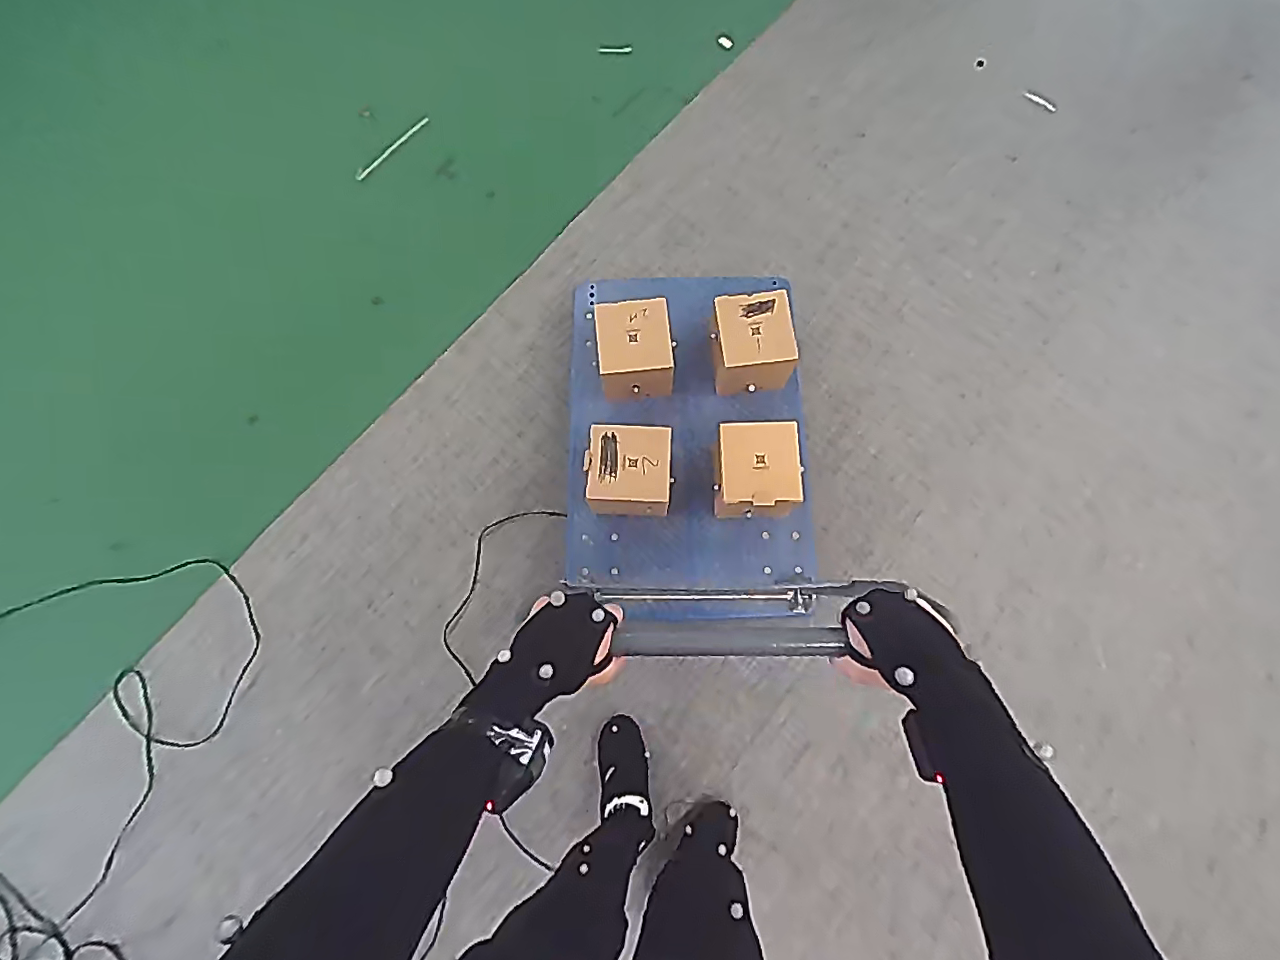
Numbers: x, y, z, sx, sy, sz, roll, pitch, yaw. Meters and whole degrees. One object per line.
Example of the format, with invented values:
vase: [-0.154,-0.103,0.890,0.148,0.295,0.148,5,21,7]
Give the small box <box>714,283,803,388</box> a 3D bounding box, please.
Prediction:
small box: [0.270,-0.333,1.273,0.168,0.176,0.179,-6,78,1]

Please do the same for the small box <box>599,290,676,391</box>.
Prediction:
small box: [-0.004,-0.320,1.277,0.168,0.176,0.179,-5,77,0]

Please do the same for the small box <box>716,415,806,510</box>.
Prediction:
small box: [0.262,-0.034,1.205,0.168,0.176,0.179,-1,77,1]
